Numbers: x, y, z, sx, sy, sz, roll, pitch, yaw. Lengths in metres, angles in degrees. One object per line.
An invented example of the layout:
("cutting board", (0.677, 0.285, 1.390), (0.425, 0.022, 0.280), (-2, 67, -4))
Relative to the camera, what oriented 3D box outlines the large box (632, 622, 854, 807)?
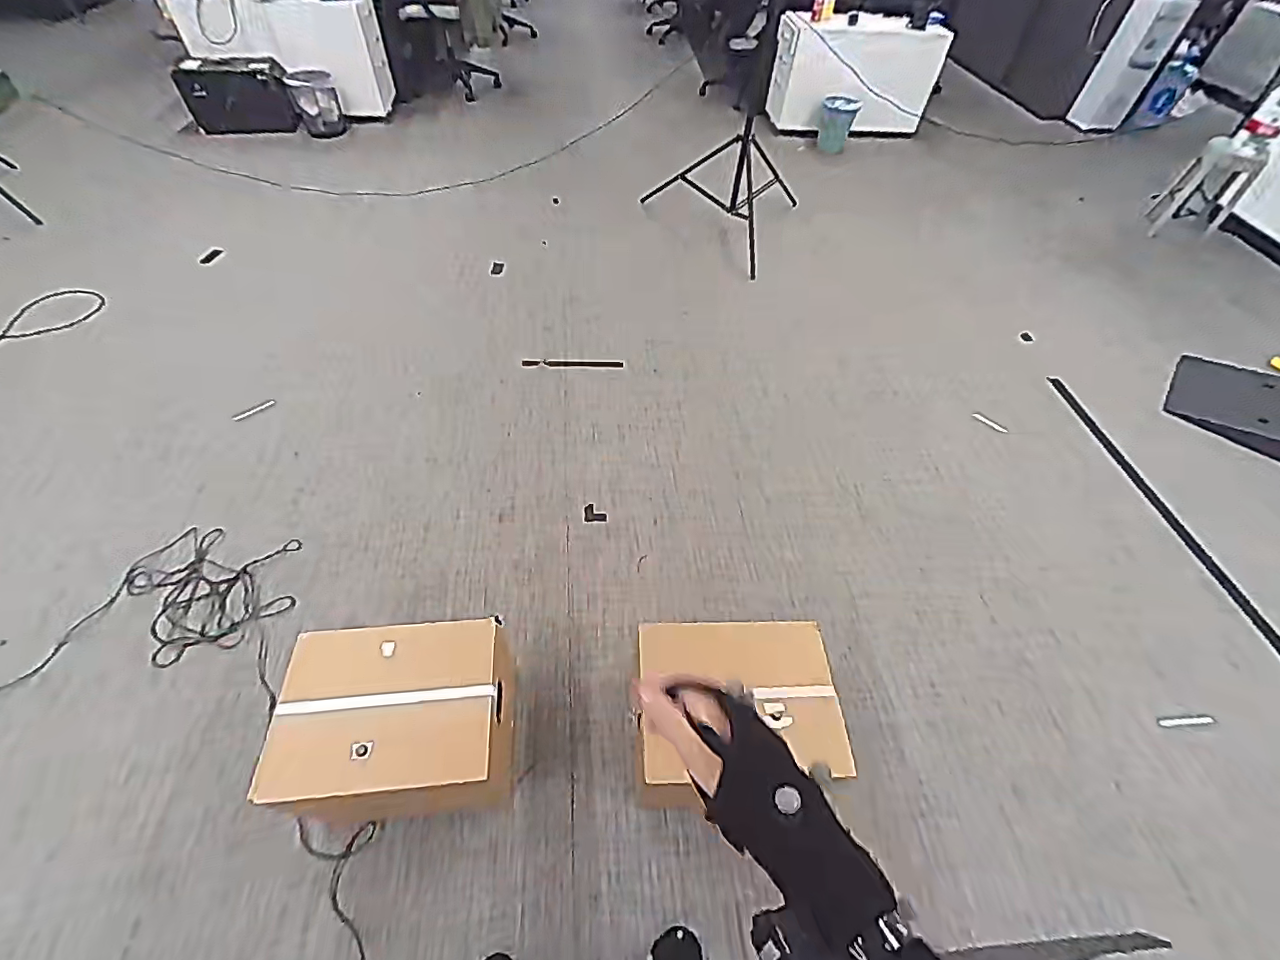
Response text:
("large box", (0.197, 0.533, 1.224), (0.408, 0.320, 0.320), (1, 52, -5))
